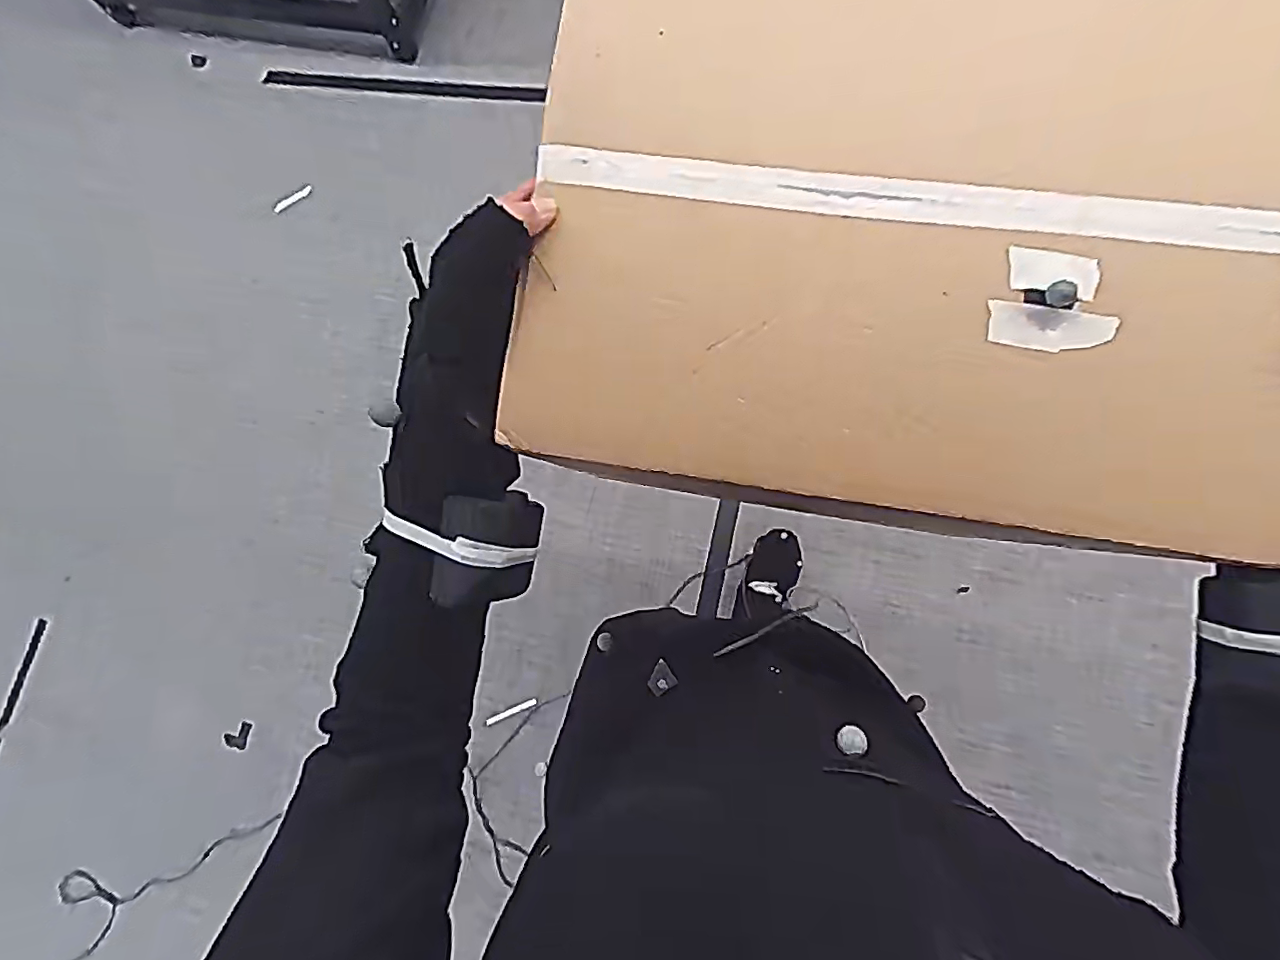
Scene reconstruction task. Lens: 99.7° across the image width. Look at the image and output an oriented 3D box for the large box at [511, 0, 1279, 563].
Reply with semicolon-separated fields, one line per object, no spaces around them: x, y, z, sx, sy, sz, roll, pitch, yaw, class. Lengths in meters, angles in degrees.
0.151;-0.124;0.443;0.408;0.320;0.320;8;89;5;large box
